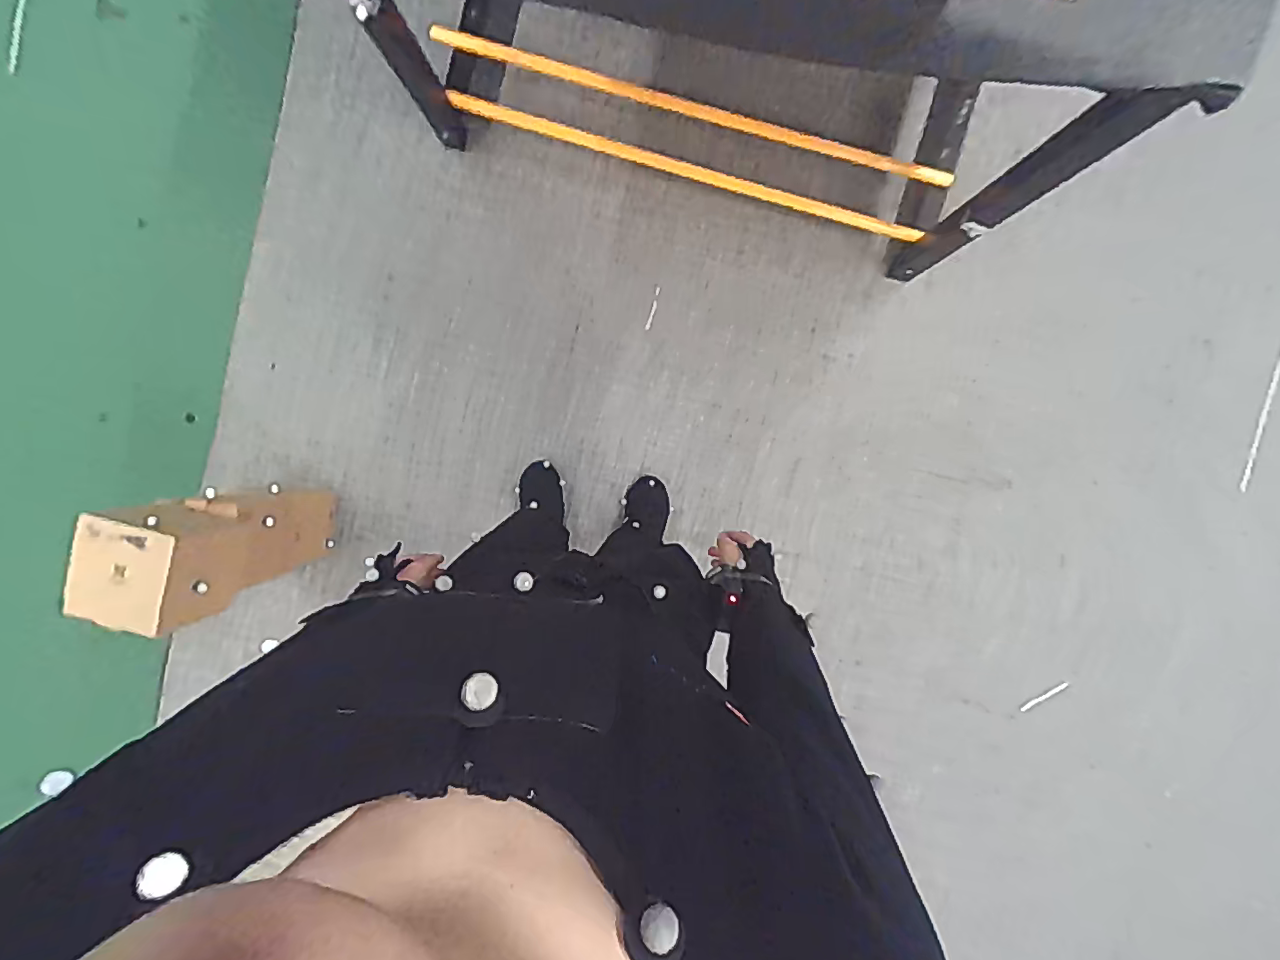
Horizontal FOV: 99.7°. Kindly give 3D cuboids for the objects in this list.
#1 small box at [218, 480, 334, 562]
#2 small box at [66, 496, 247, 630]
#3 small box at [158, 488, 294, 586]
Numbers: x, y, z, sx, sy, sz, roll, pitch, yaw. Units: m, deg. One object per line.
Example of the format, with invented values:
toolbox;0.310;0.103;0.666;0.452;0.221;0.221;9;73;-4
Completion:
small box;-0.861;0.092;1.289;0.179;0.176;0.168;5;94;1
small box;-0.848;0.138;0.964;0.168;0.176;0.179;15;95;0
small box;-0.855;0.111;1.128;0.168;0.176;0.179;3;95;2
